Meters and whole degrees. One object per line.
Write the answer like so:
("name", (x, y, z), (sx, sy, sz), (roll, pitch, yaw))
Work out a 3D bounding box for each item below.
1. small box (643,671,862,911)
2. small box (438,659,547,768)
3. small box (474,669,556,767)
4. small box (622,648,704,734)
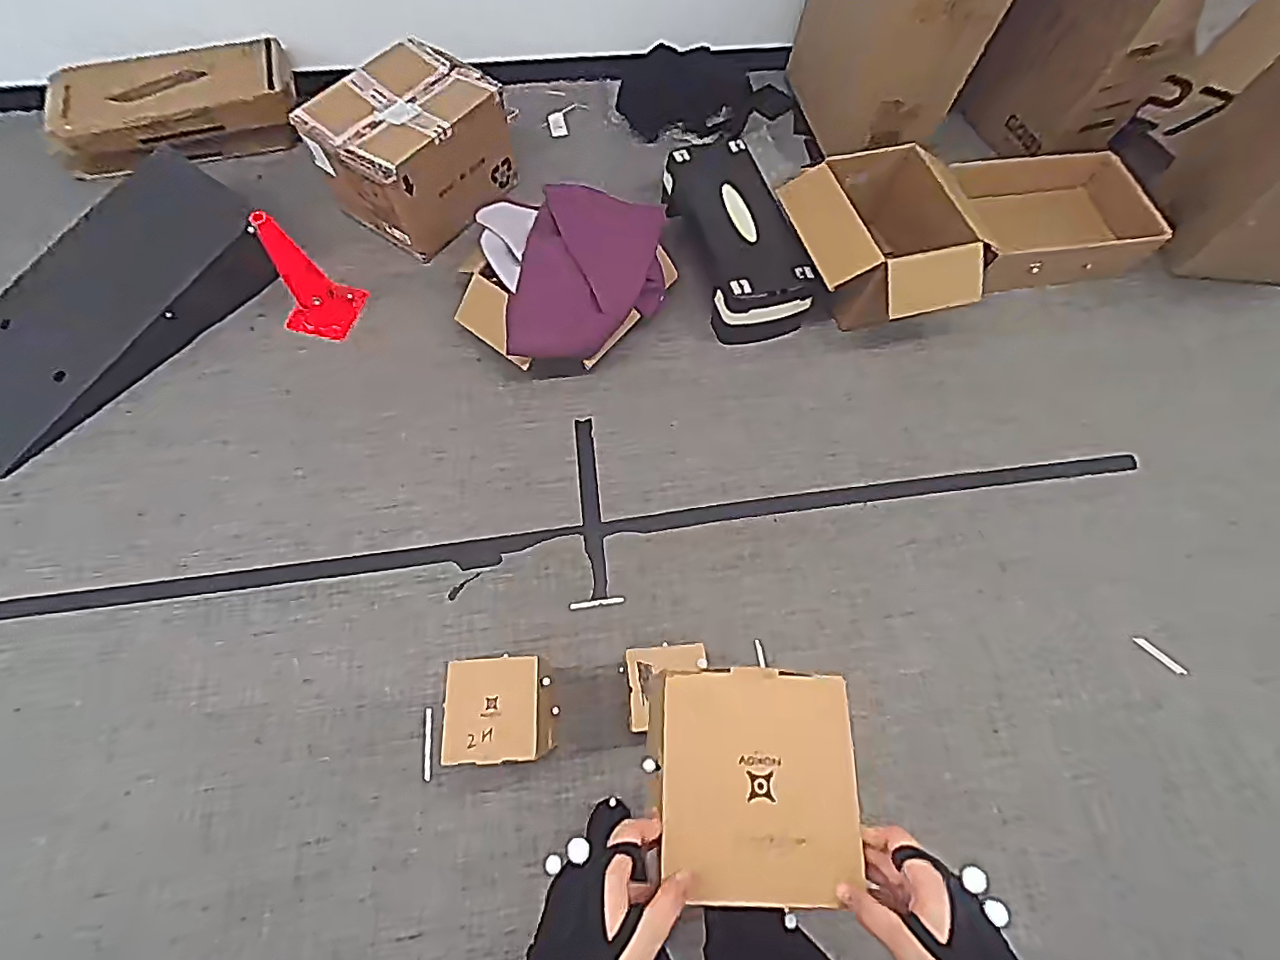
("small box", (0.092, 0.286, 0.529), (0.168, 0.176, 0.179), (3, 68, -3))
("small box", (-0.273, 0.446, 1.038), (0.168, 0.176, 0.179), (-2, 67, -2))
("small box", (-0.280, 0.514, 1.189), (0.168, 0.176, 0.179), (-7, 68, -5))
("small box", (0.051, 0.478, 1.220), (0.179, 0.176, 0.168), (-3, 67, -5))
